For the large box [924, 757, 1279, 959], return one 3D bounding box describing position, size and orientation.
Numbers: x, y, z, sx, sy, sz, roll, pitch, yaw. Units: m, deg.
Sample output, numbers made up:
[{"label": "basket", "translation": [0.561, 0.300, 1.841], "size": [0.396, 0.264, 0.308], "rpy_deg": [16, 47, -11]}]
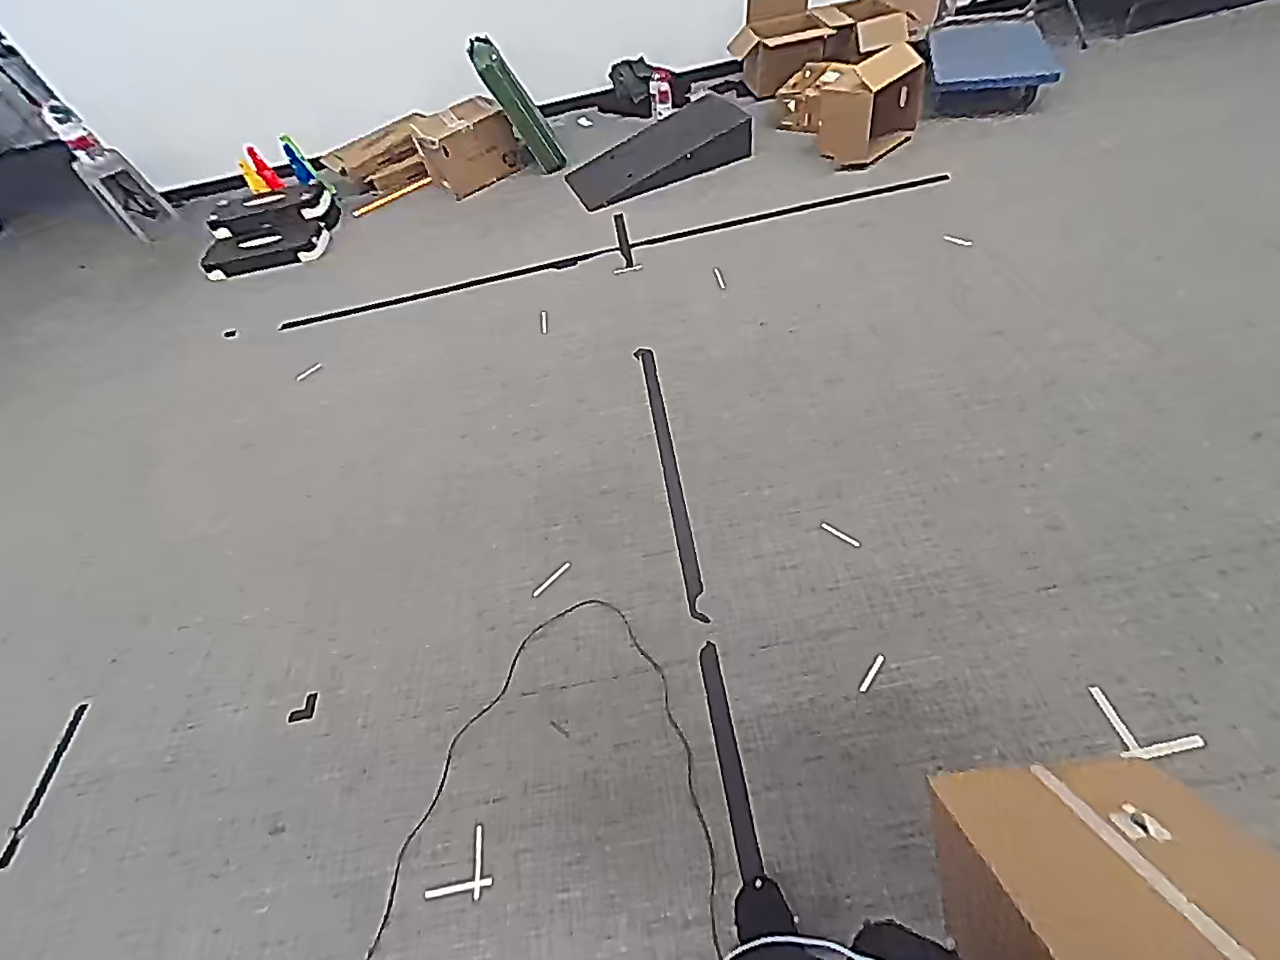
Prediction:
[{"label": "large box", "translation": [0.597, 0.600, 0.635], "size": [0.320, 0.408, 0.320], "rpy_deg": [-7, 94, 4]}]
